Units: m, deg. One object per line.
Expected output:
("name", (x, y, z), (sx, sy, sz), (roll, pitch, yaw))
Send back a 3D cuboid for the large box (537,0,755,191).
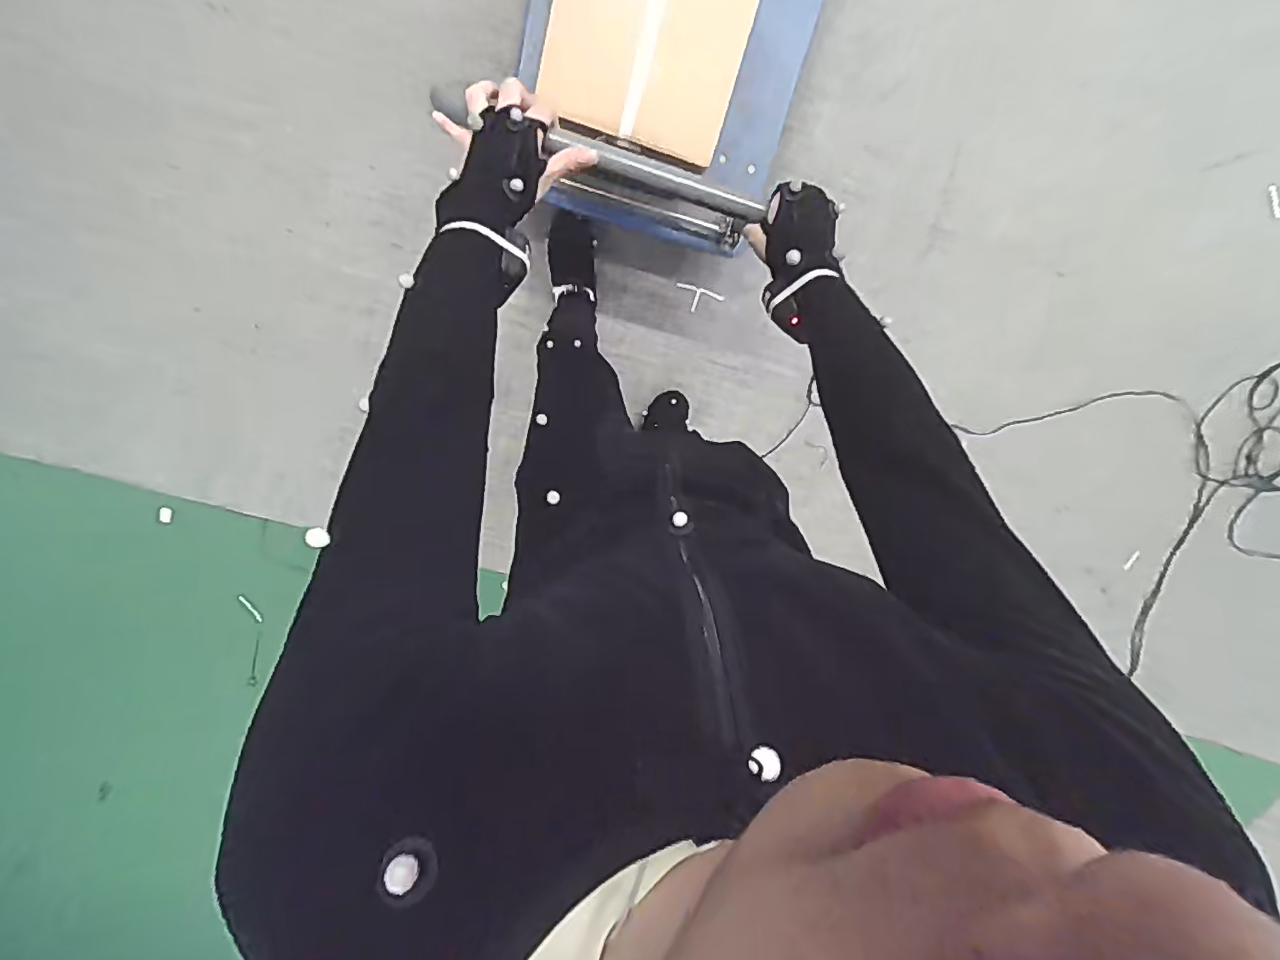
("large box", (0.018, -0.810, 0.993), (0.320, 0.320, 0.408), (14, 108, -9))
